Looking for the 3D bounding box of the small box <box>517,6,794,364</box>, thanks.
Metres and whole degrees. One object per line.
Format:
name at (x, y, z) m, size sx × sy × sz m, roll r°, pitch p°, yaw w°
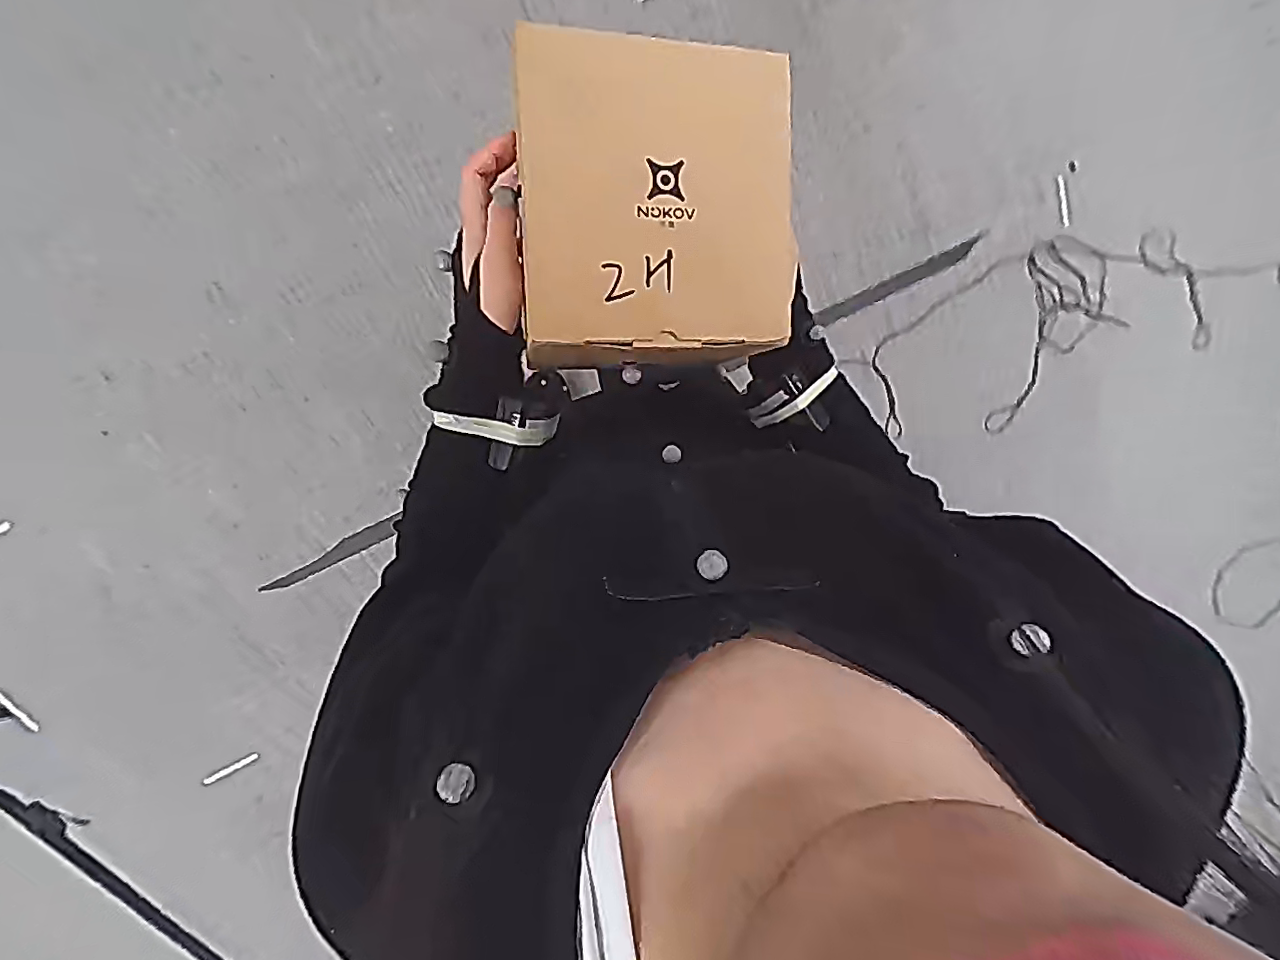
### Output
small box at (-0.002, -0.184, 0.396) m, size 0.168 × 0.176 × 0.179 m, roll -4°, pitch 97°, yaw -11°
